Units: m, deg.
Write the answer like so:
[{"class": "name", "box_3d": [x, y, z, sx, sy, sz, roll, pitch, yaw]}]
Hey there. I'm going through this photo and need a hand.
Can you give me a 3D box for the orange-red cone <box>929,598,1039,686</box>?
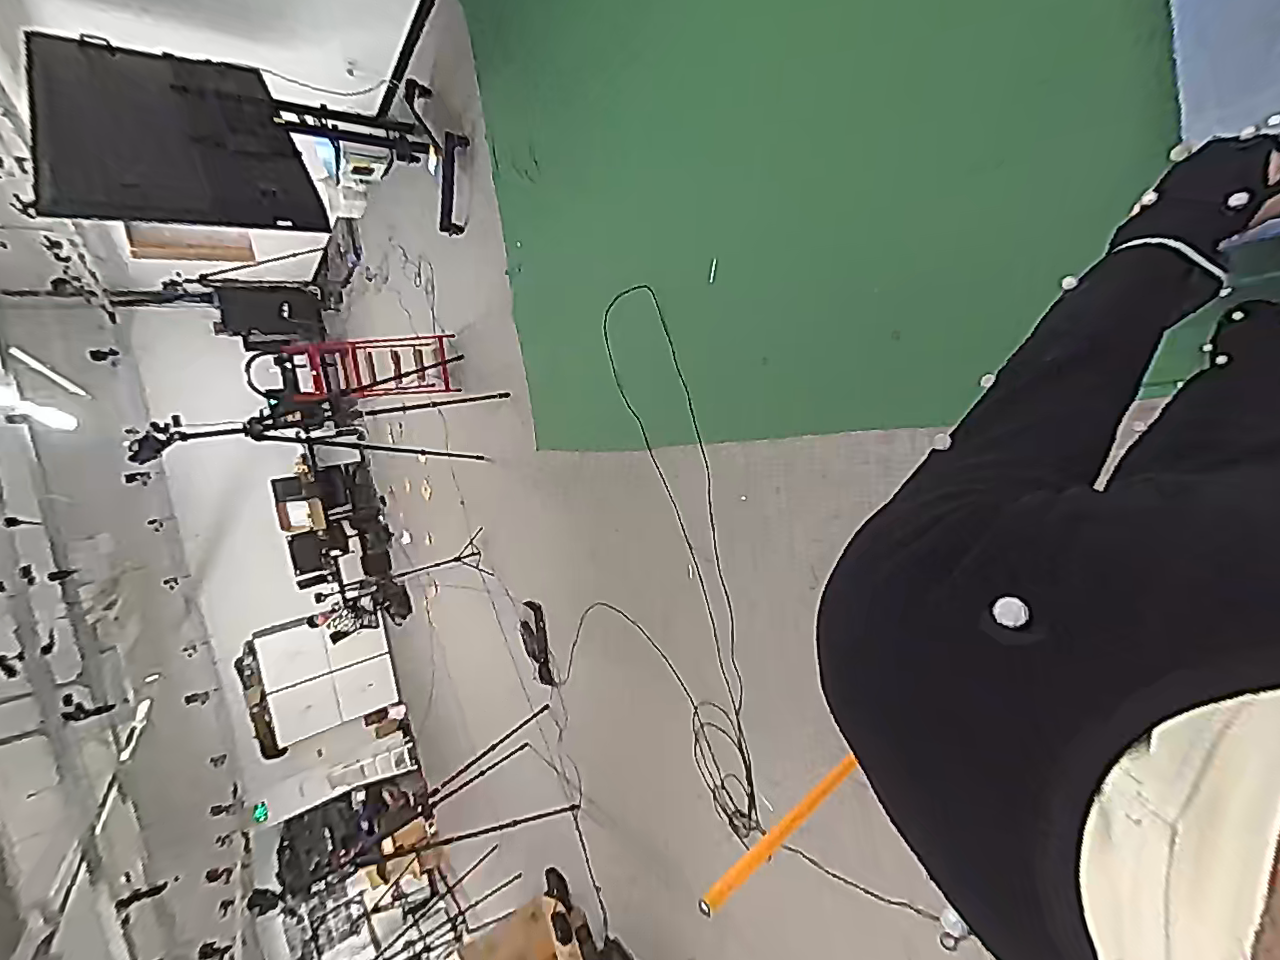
[{"class": "orange-red cone", "box_3d": [0.880, 0.470, 1.459, 0.199, 0.360, 0.198, -25, 81, 54]}]
